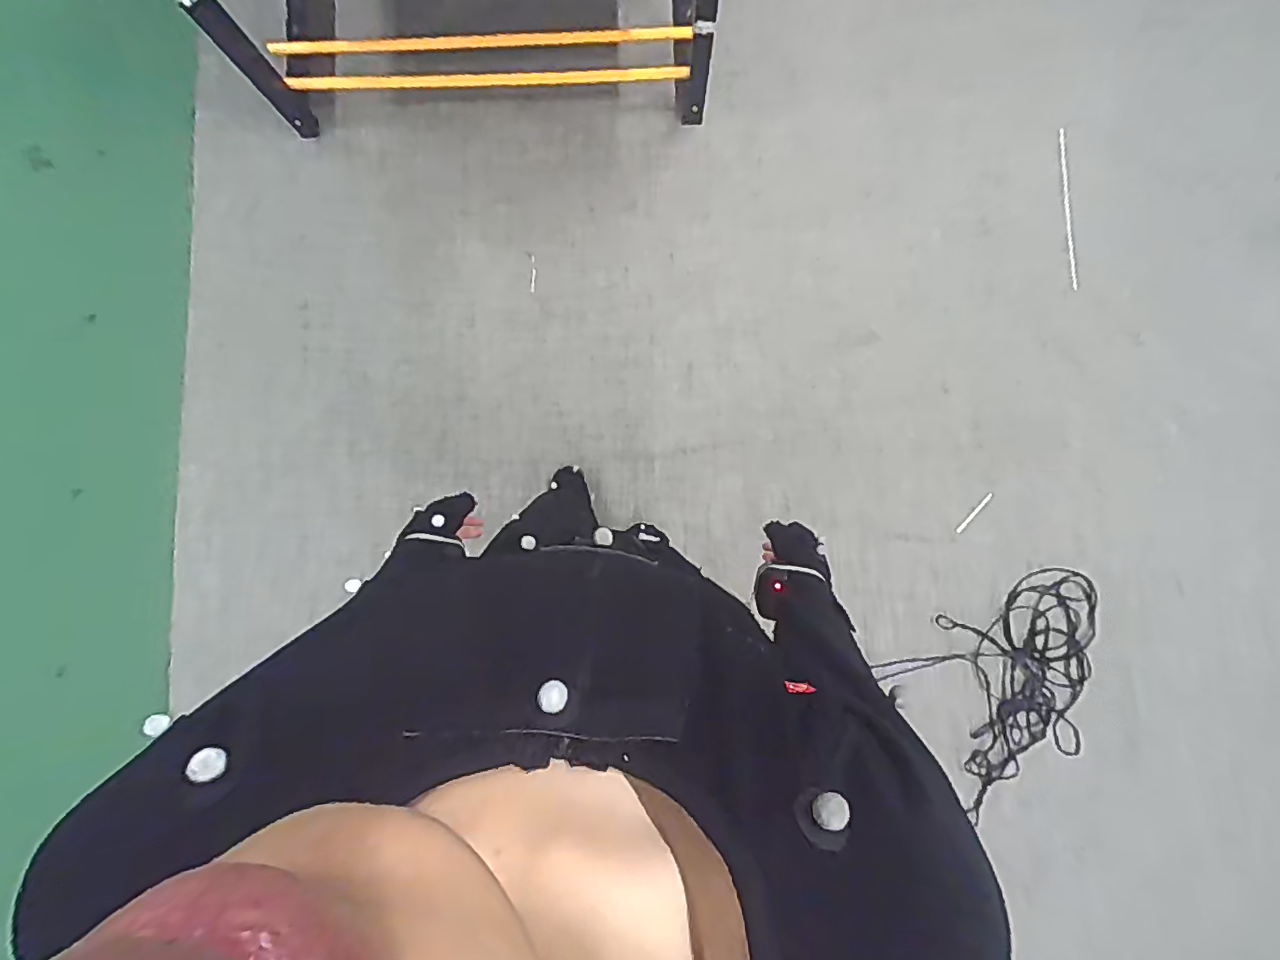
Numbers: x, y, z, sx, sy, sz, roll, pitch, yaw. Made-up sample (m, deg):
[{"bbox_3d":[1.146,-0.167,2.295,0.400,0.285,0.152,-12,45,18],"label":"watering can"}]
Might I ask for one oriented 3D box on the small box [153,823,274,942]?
[{"bbox_3d":[-1.052,0.995,1.348,0.168,0.176,0.179,3,84,1],"label":"small box"}]
